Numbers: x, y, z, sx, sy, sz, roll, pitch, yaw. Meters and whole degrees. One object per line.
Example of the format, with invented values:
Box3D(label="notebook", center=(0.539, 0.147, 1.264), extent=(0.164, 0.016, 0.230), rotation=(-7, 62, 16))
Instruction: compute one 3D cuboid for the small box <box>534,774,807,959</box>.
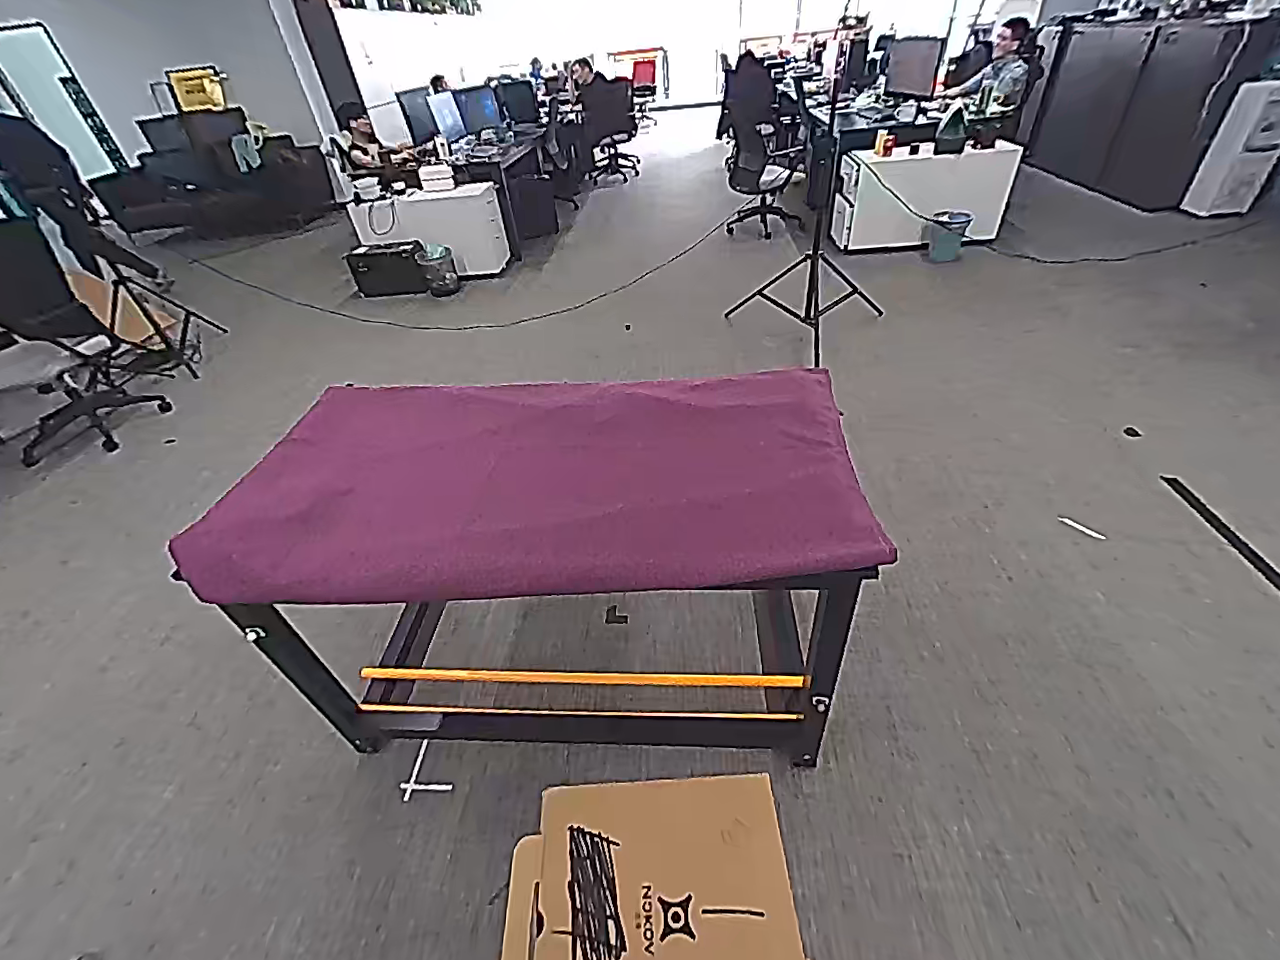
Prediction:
Box3D(label="small box", center=(0.023, 0.346, 0.413), extent=(0.179, 0.176, 0.168), rotation=(-4, 43, 0))
